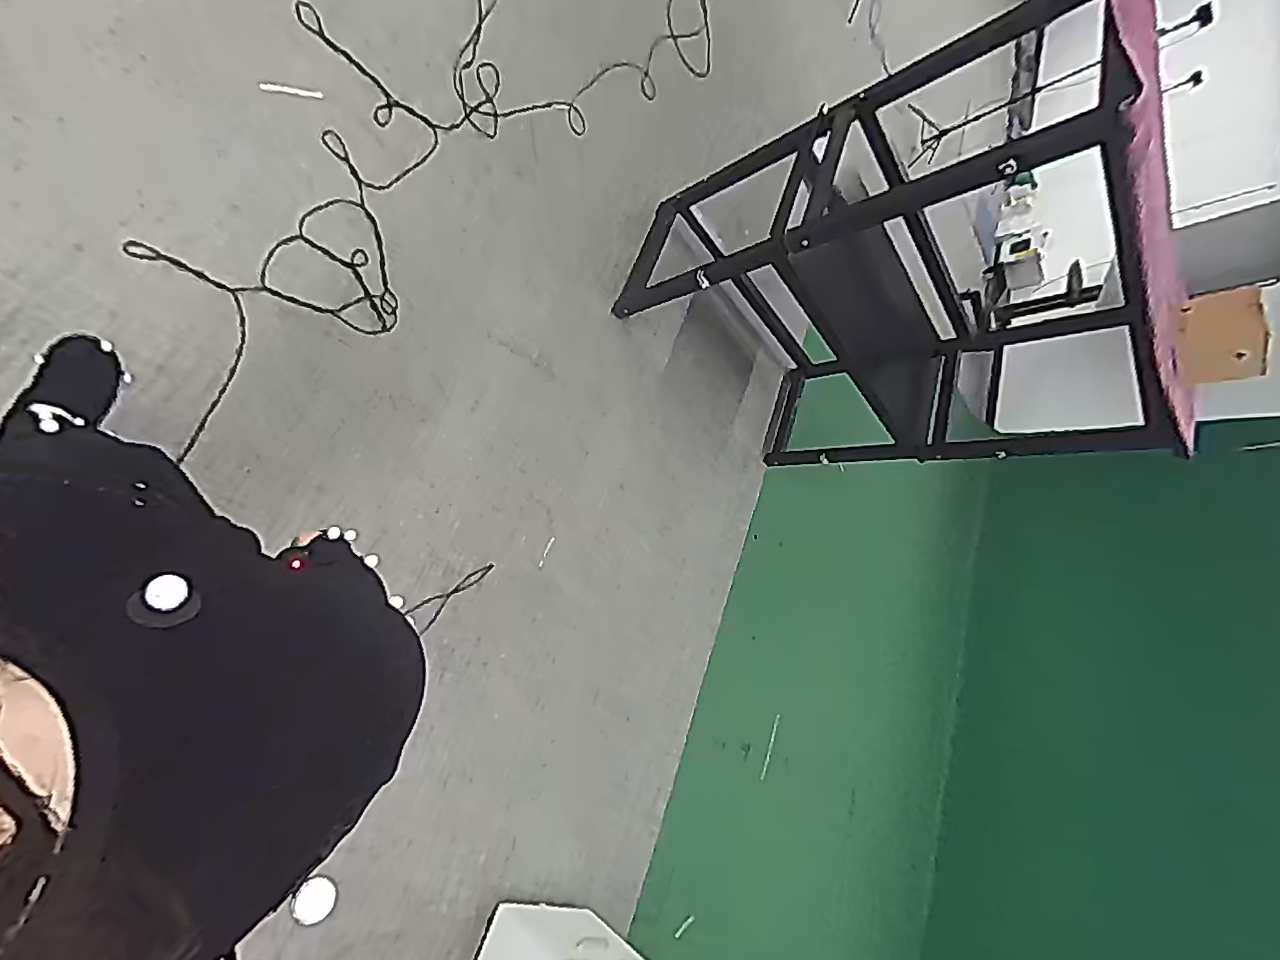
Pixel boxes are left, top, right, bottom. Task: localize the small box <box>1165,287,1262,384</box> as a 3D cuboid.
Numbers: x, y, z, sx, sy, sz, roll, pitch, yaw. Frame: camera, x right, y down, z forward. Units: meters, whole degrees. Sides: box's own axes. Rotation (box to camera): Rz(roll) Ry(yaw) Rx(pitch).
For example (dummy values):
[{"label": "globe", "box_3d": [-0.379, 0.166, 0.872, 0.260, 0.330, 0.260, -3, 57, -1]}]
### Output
[{"label": "small box", "box_3d": [1.538, -0.378, 1.457, 0.179, 0.176, 0.168, 38, 62, -36]}]
